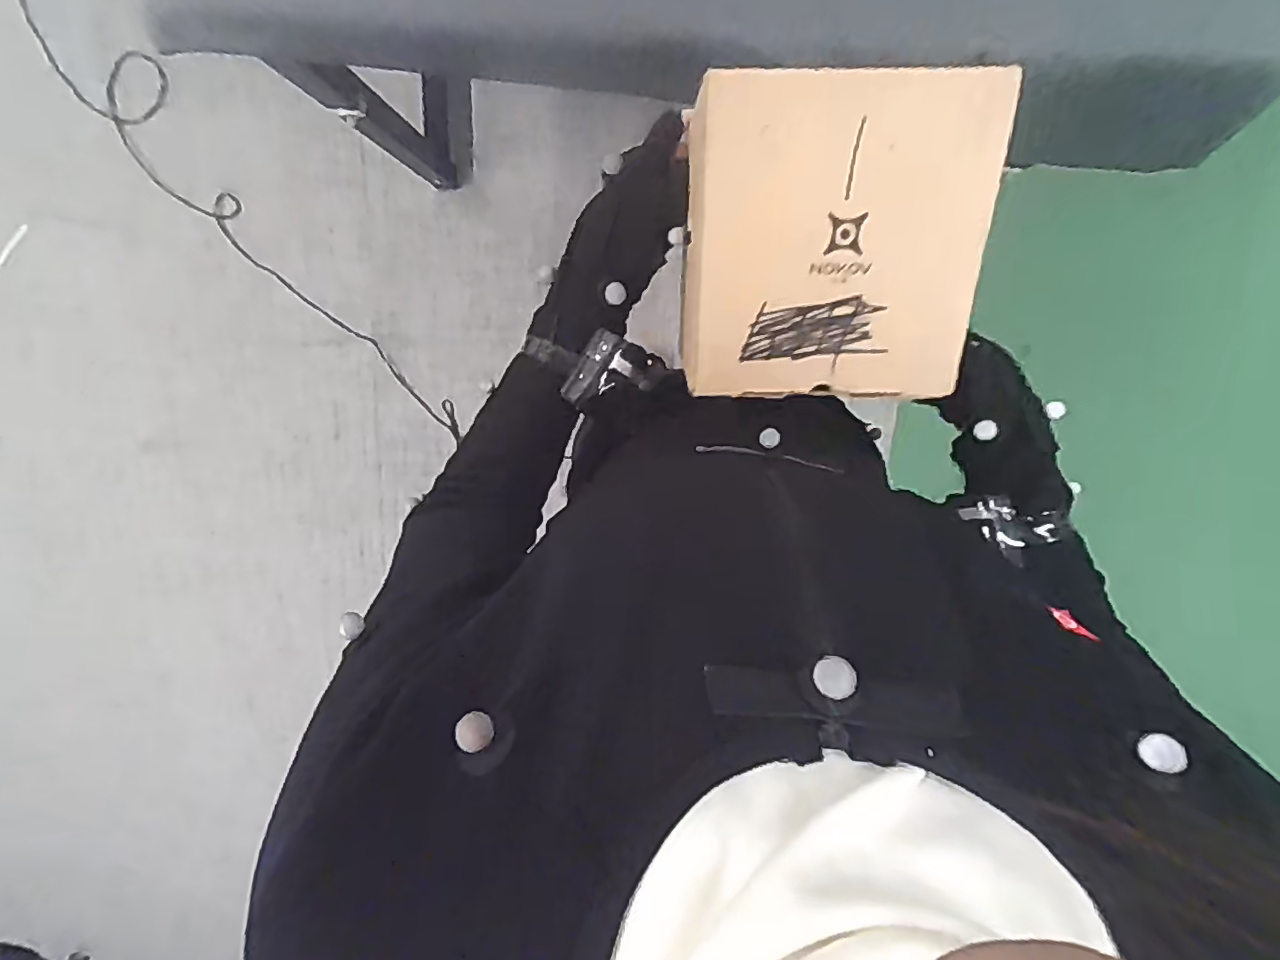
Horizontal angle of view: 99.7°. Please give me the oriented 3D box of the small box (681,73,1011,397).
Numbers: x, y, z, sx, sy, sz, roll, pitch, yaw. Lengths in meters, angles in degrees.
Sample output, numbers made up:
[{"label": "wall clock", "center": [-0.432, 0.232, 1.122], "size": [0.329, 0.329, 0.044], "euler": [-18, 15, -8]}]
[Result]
[{"label": "small box", "center": [0.119, -0.168, 0.398], "size": [0.168, 0.176, 0.179], "euler": [1, 112, 0]}]
